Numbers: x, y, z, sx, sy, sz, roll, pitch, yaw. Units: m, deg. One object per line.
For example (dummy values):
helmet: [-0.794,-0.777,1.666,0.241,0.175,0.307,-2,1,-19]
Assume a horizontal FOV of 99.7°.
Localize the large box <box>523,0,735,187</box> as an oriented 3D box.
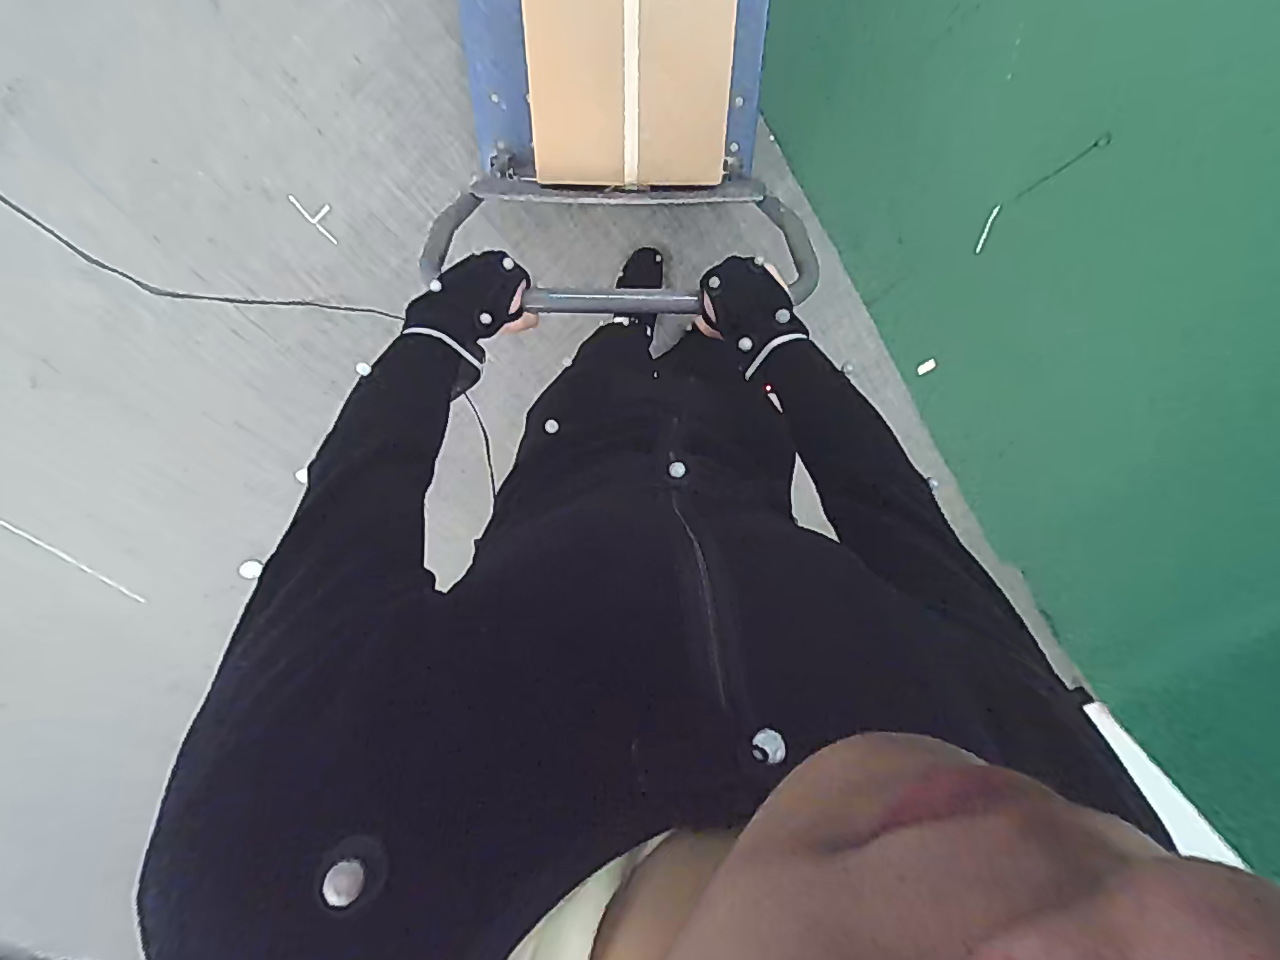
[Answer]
large box: [-0.018,-0.743,0.928,0.320,0.320,0.408,-1,123,-2]
